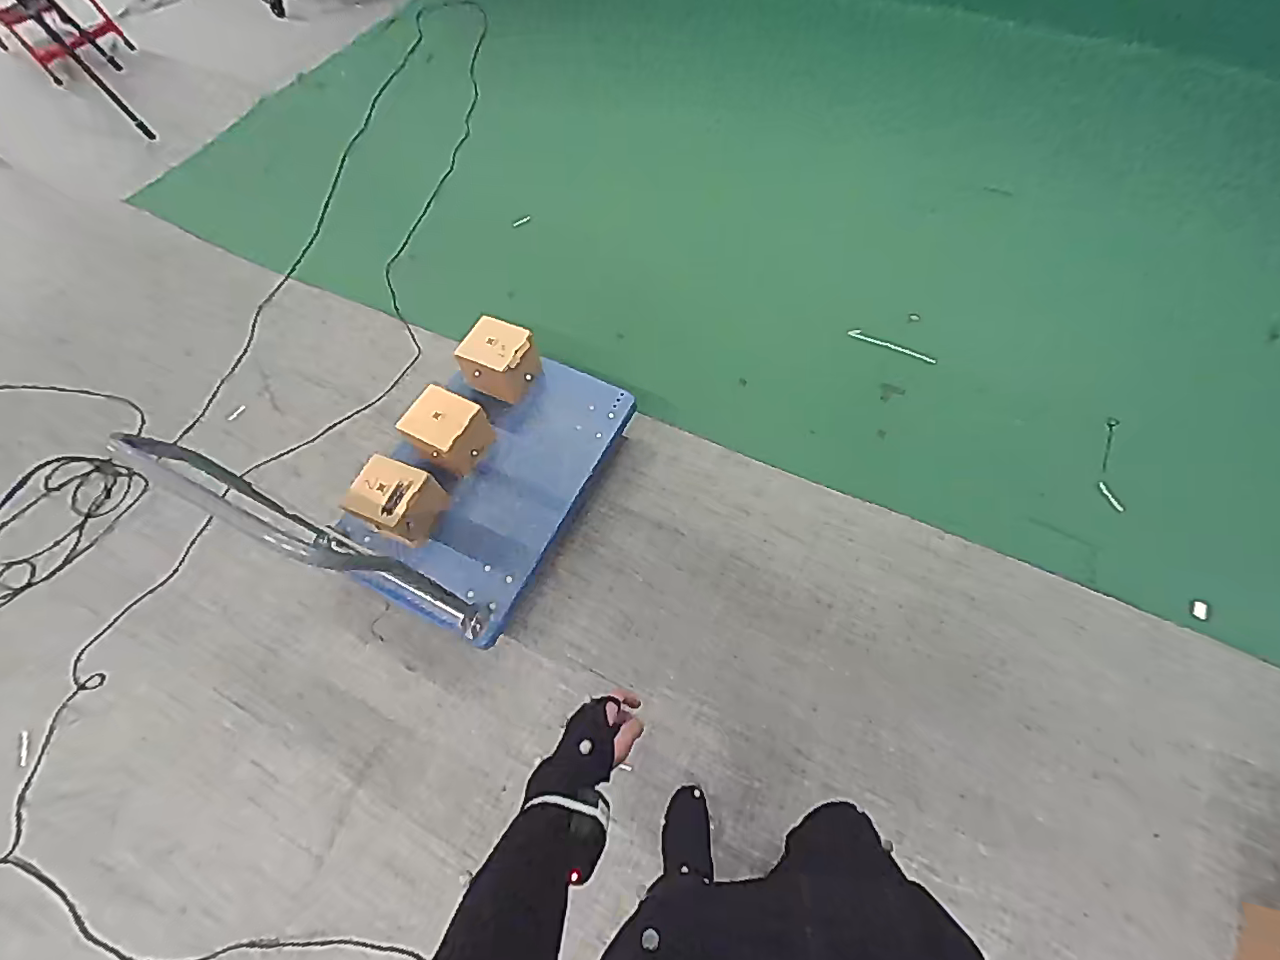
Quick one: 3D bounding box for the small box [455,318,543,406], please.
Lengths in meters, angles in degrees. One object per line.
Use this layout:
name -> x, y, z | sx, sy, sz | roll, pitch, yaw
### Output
small box -> -0.425, -0.356, 1.661 | 0.179, 0.176, 0.168 | 29, 71, 14

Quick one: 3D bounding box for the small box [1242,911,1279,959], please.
small box -> 1.386, 1.023, 1.091 | 0.168, 0.176, 0.179 | 28, 67, 16

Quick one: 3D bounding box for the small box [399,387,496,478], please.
small box -> -0.547, -0.131, 1.556 | 0.179, 0.176, 0.168 | 24, 66, 12
